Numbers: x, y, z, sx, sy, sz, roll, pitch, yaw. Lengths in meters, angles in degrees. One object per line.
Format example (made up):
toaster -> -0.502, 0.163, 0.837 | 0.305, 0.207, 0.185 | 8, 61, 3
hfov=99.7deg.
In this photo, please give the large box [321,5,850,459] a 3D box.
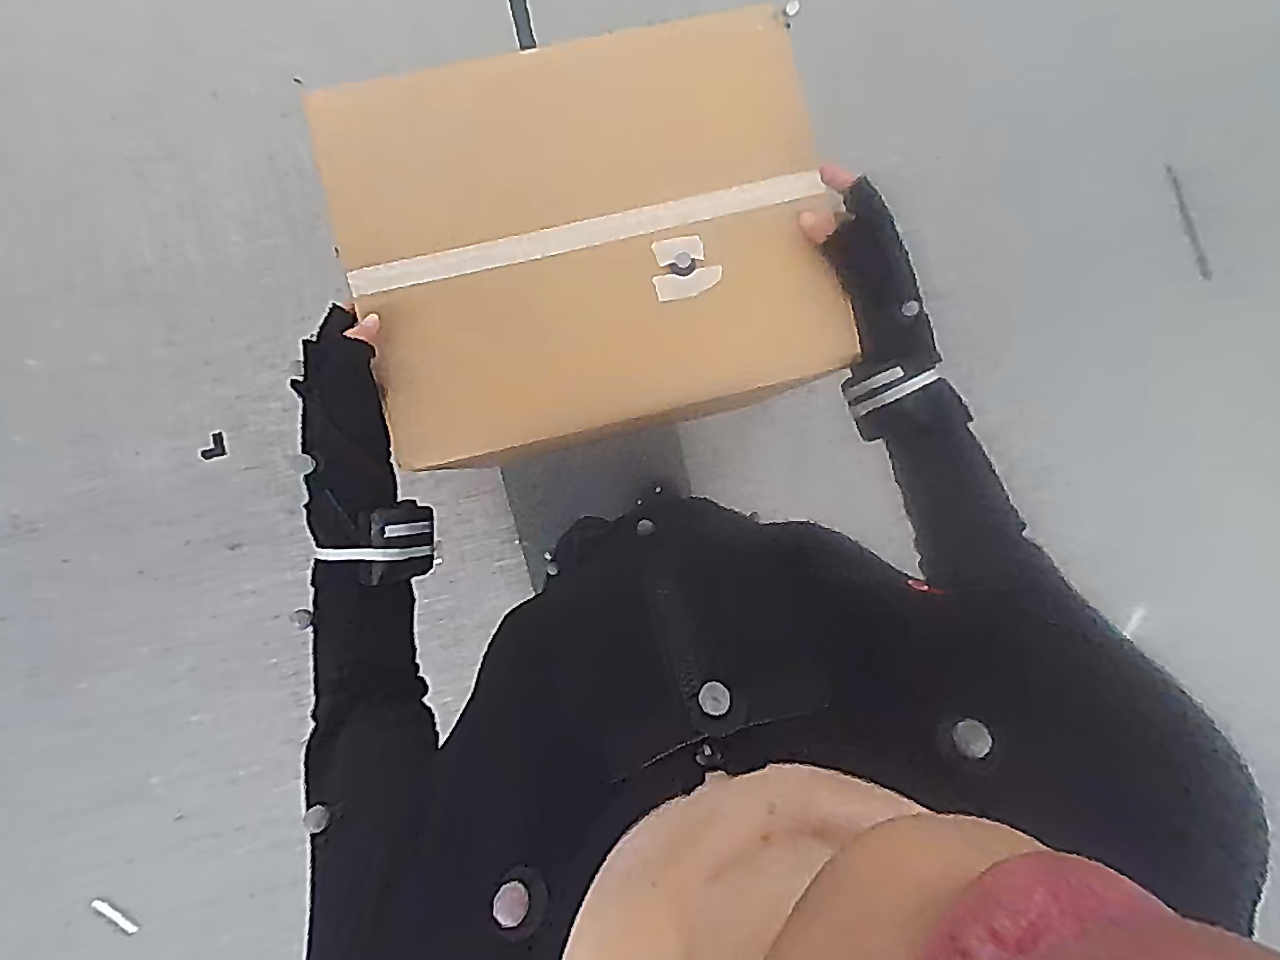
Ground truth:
large box -> -0.051, -0.222, 0.612 | 0.408, 0.320, 0.320 | -14, 93, -4
